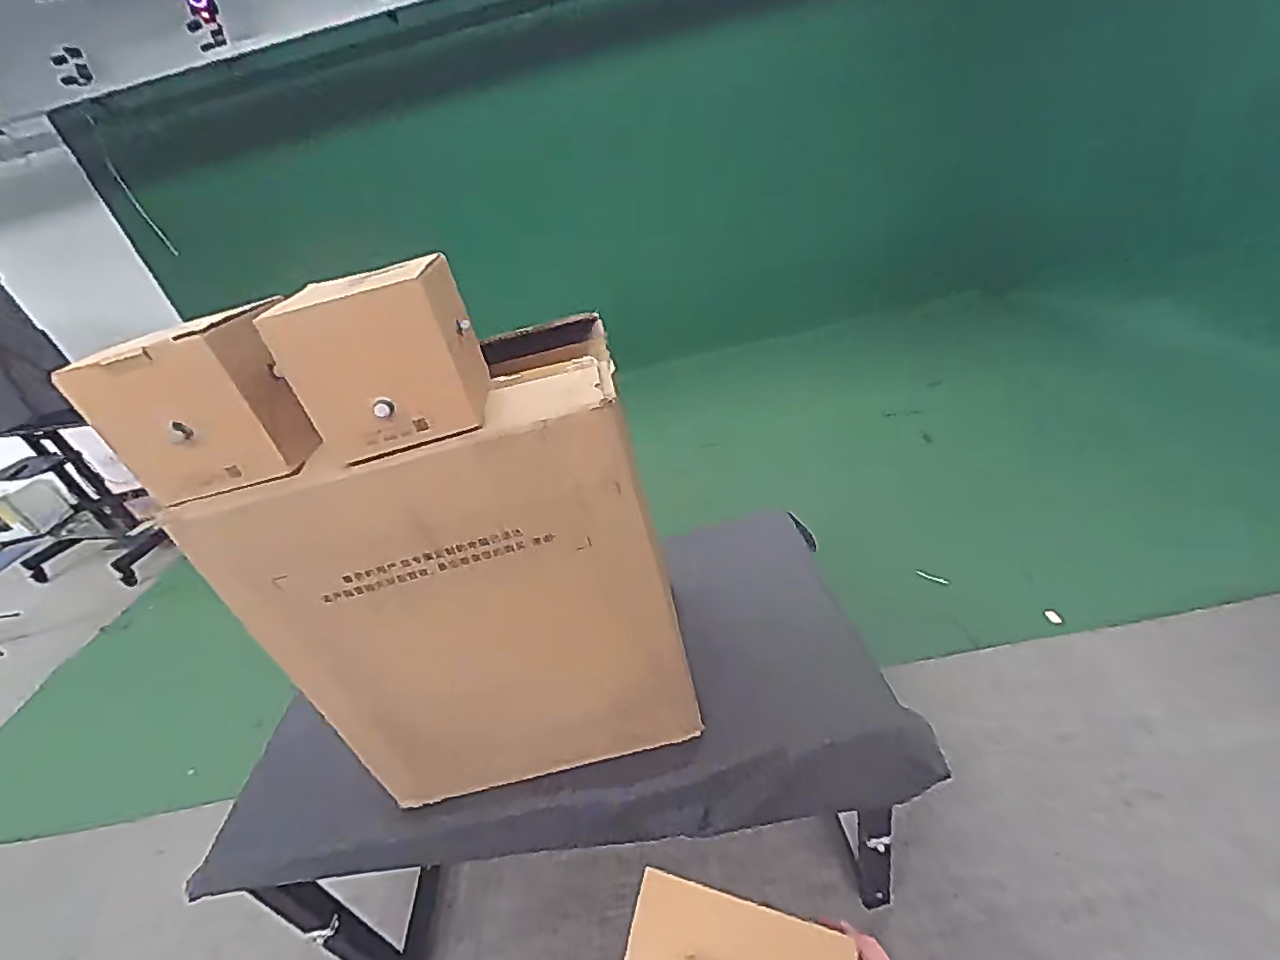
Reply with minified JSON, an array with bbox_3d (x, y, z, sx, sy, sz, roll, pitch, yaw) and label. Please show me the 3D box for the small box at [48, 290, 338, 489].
[{"bbox_3d":[-0.500,-0.104,0.645,0.168,0.176,0.179,-14,32,2],"label":"small box"}]
